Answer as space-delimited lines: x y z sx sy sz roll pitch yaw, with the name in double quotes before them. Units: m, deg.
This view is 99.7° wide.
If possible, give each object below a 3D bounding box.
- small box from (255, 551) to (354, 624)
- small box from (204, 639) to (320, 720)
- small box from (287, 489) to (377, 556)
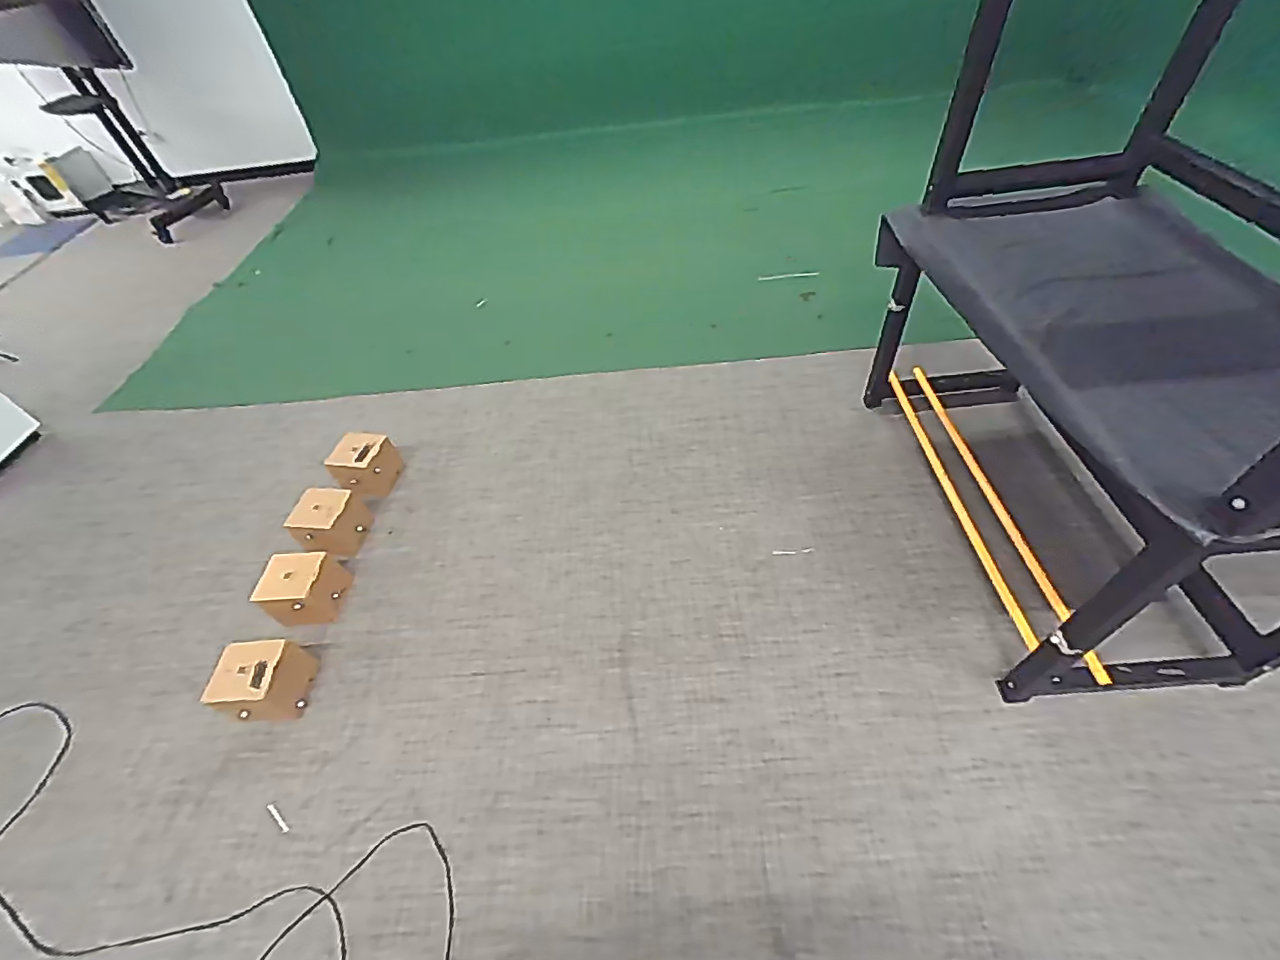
"small box" -1.045 0.341 1.700 0.179 0.176 0.168 -3 49 3
"small box" -1.039 0.558 1.507 0.179 0.176 0.168 -5 49 4
"small box" -1.056 0.147 1.869 0.179 0.176 0.168 3 50 8
